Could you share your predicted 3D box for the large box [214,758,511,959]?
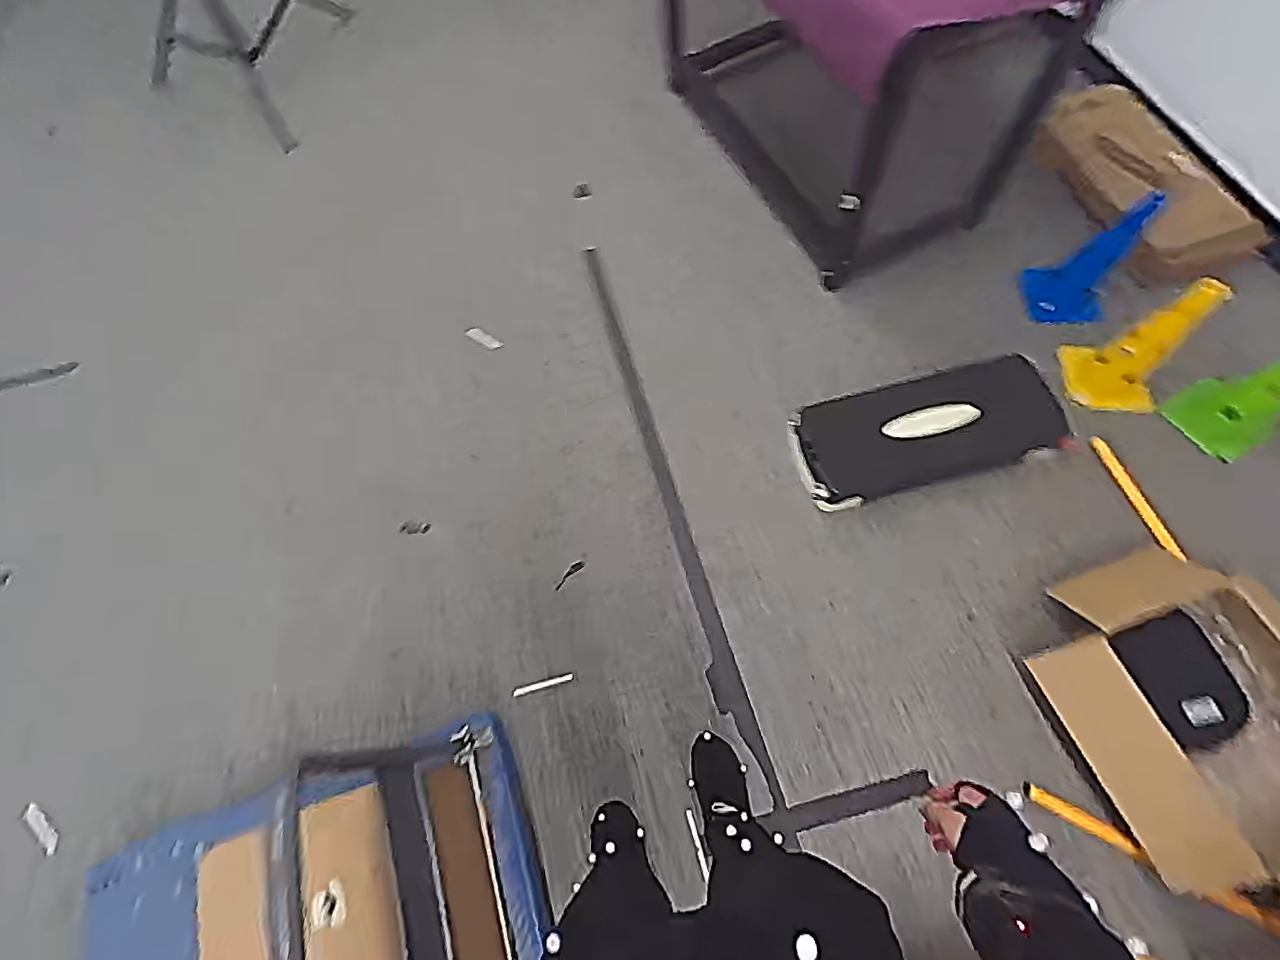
[{"bbox_3d":[-0.447,0.745,0.916,0.320,0.320,0.408,-19,67,-3],"label":"large box"}]
